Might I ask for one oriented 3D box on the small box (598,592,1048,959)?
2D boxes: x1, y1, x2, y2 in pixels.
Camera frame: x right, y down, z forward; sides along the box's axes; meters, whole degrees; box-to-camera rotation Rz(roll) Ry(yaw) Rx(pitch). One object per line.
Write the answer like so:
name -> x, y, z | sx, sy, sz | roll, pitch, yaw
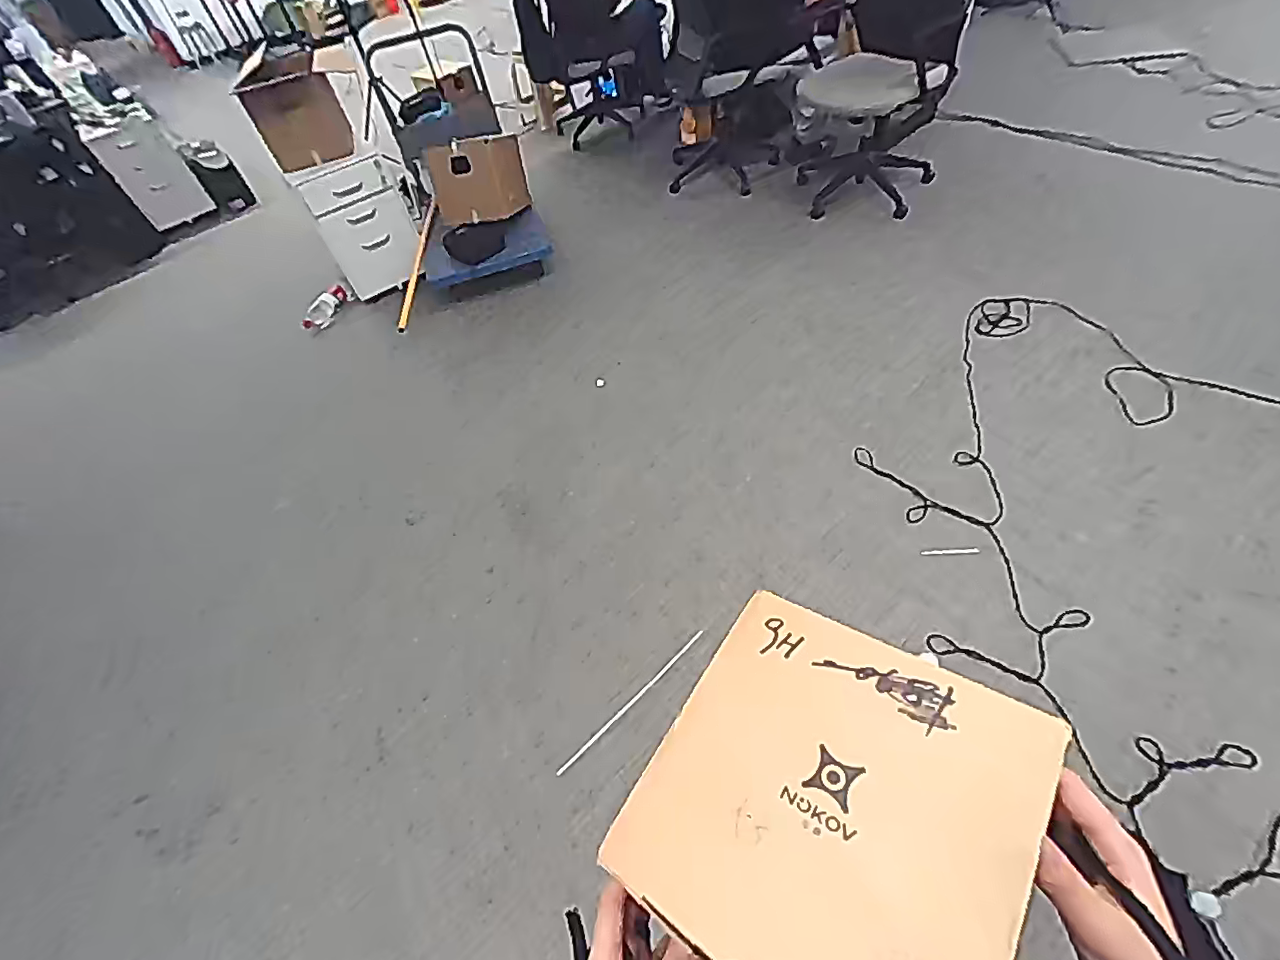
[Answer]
small box -> 0.110, 0.207, 0.327 | 0.168, 0.176, 0.179 | 20, 59, 35
